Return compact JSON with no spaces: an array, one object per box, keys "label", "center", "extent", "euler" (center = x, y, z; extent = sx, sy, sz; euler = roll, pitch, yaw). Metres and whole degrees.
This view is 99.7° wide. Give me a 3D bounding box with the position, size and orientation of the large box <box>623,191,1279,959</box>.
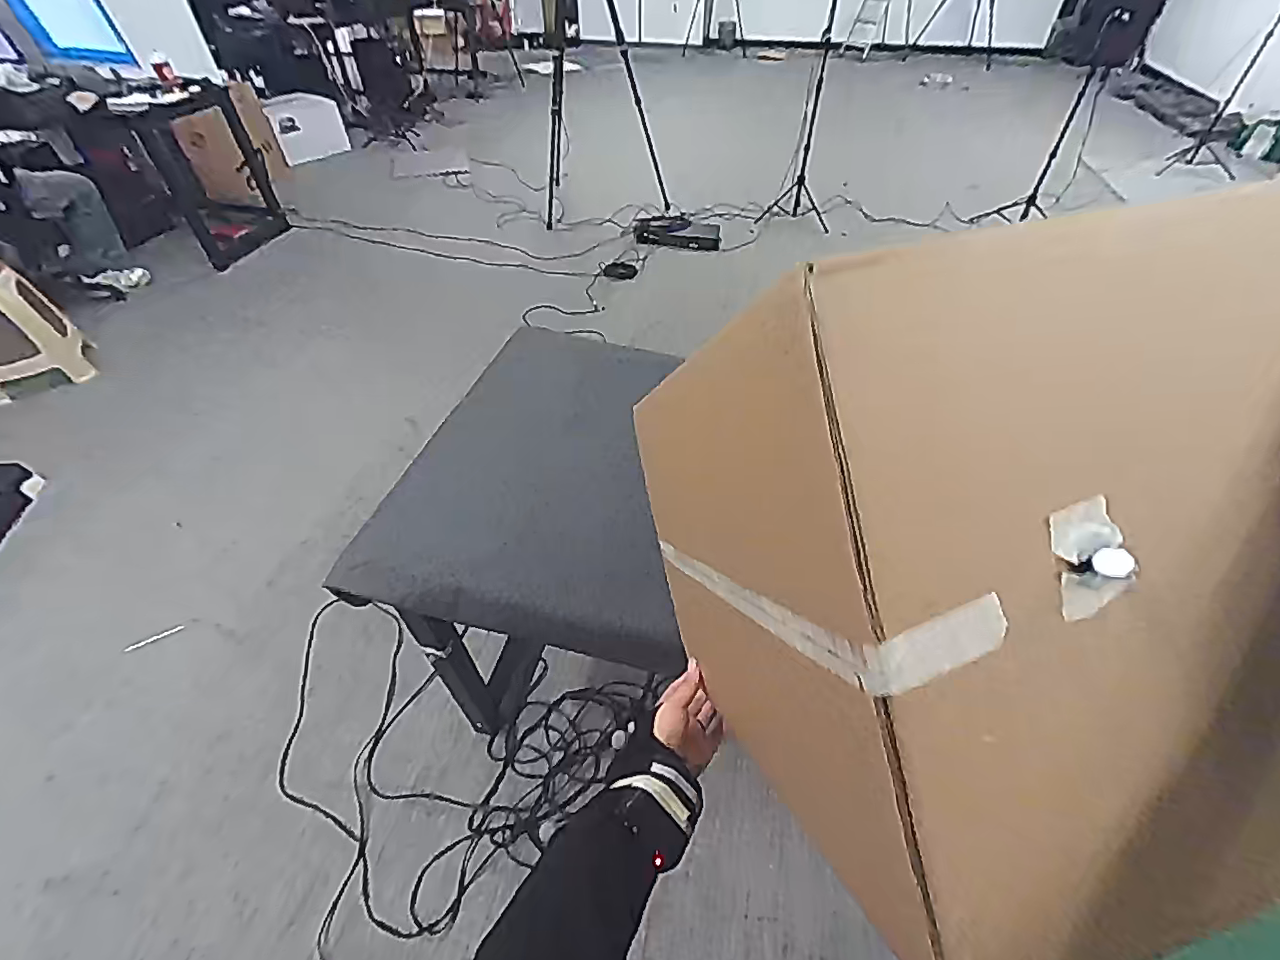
[{"label":"large box","center":[0.197,0.033,0.430],"extent":[0.320,0.320,0.408],"euler":[-14,3,-11]}]
